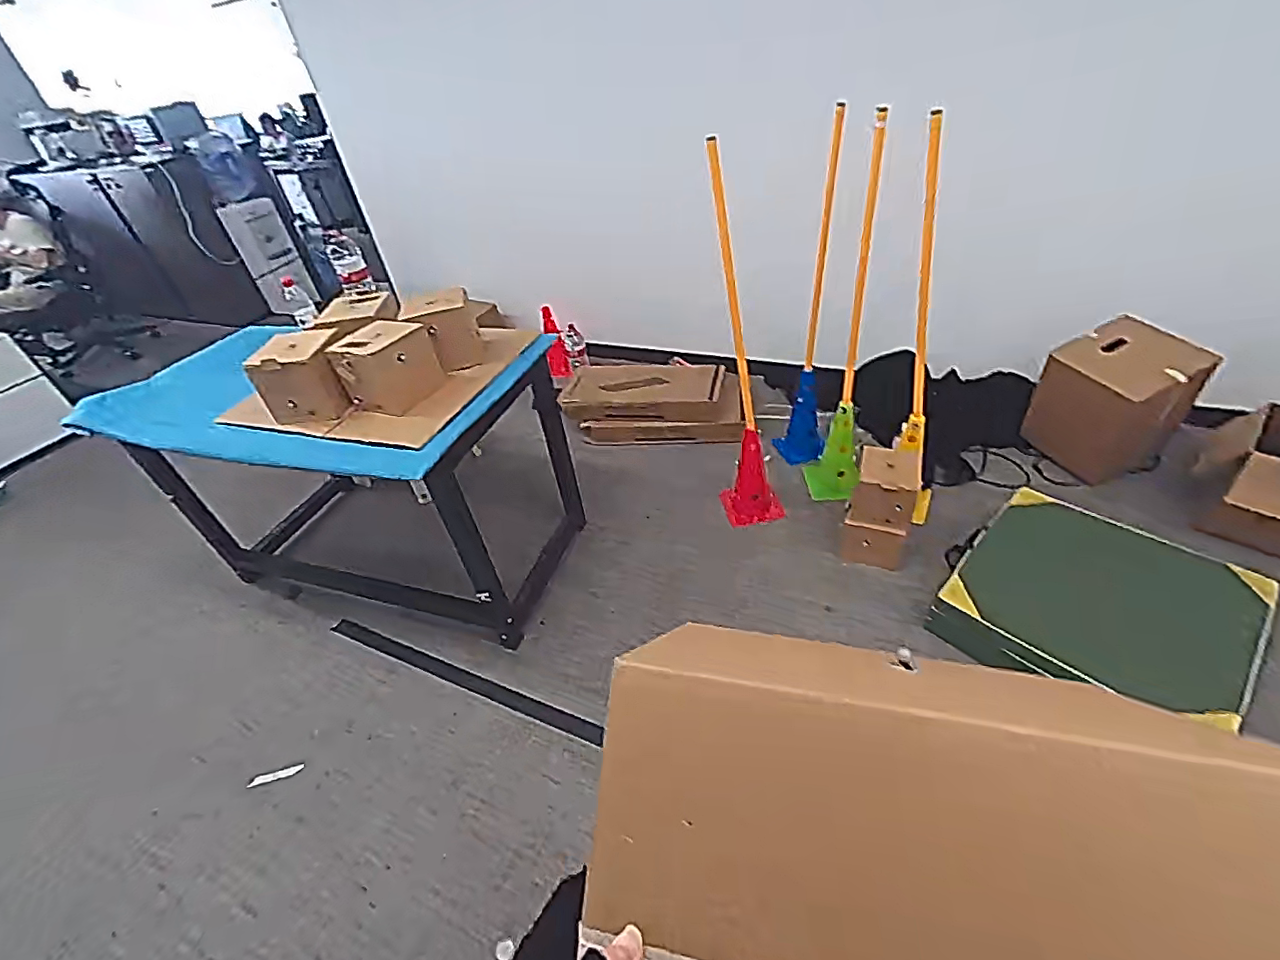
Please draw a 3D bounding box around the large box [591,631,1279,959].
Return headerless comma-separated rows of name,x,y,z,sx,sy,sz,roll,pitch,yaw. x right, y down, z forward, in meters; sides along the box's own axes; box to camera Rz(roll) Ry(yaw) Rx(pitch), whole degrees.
large box,0.199,0.313,0.421,0.408,0.320,0.320,4,81,15
